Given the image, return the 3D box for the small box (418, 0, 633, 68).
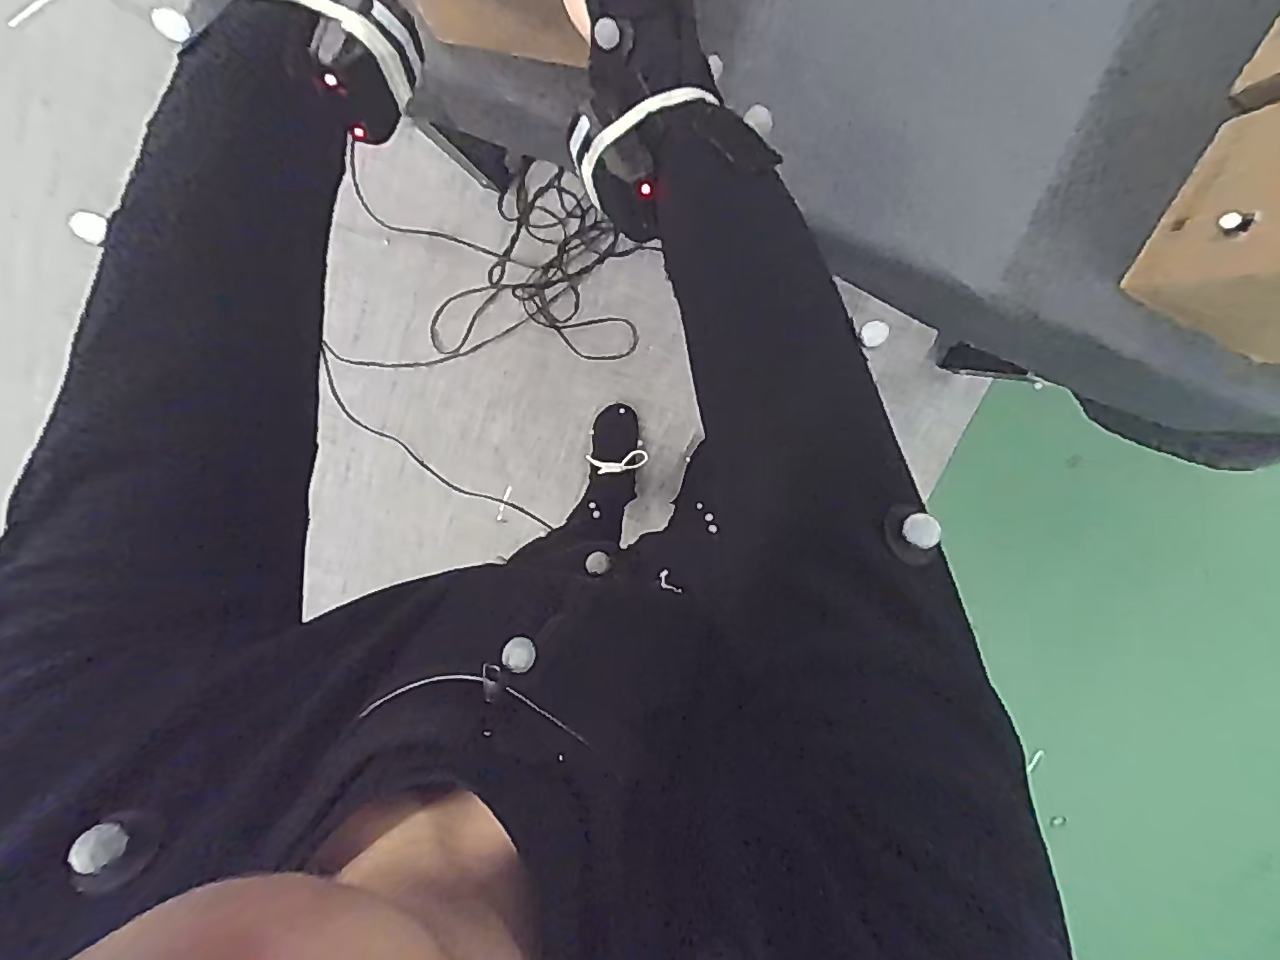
[{"bbox_3d":[-0.084,-0.443,0.395,0.179,0.176,0.168,10,103,-2],"label":"small box"}]
